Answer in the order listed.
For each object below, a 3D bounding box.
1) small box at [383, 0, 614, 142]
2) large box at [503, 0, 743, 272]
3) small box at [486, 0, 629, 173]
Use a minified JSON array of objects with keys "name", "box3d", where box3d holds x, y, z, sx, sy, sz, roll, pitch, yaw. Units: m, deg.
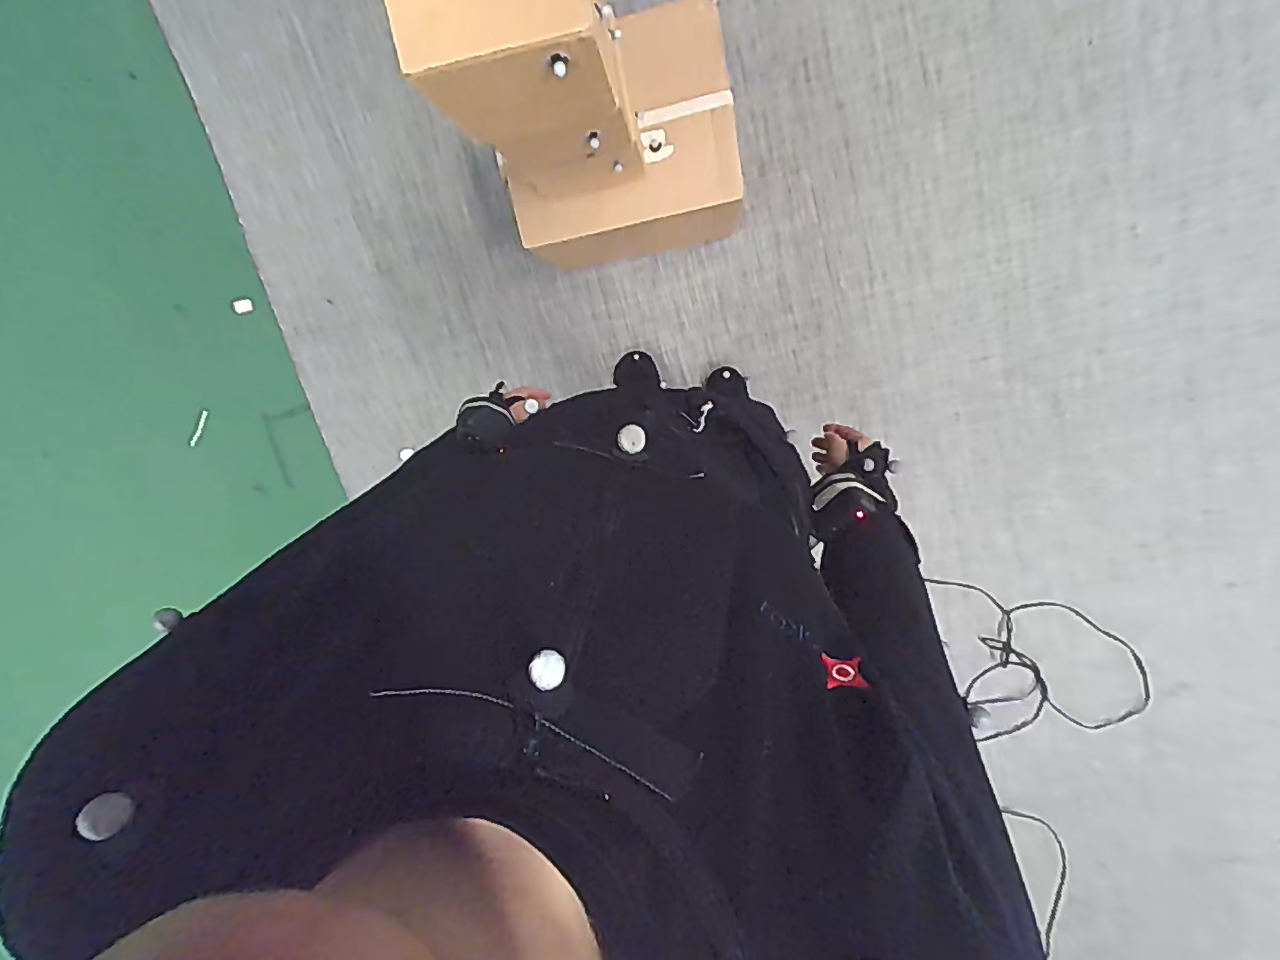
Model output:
[{"name":"small box","box3d":[-0.132,-0.459,0.525,0.179,0.176,0.168,-9,103,6]},{"name":"large box","box3d":[-0.035,-0.629,1.063,0.408,0.320,0.320,-10,104,7]},{"name":"small box","box3d":[-0.114,-0.511,0.679,0.168,0.176,0.179,-11,102,6]}]
